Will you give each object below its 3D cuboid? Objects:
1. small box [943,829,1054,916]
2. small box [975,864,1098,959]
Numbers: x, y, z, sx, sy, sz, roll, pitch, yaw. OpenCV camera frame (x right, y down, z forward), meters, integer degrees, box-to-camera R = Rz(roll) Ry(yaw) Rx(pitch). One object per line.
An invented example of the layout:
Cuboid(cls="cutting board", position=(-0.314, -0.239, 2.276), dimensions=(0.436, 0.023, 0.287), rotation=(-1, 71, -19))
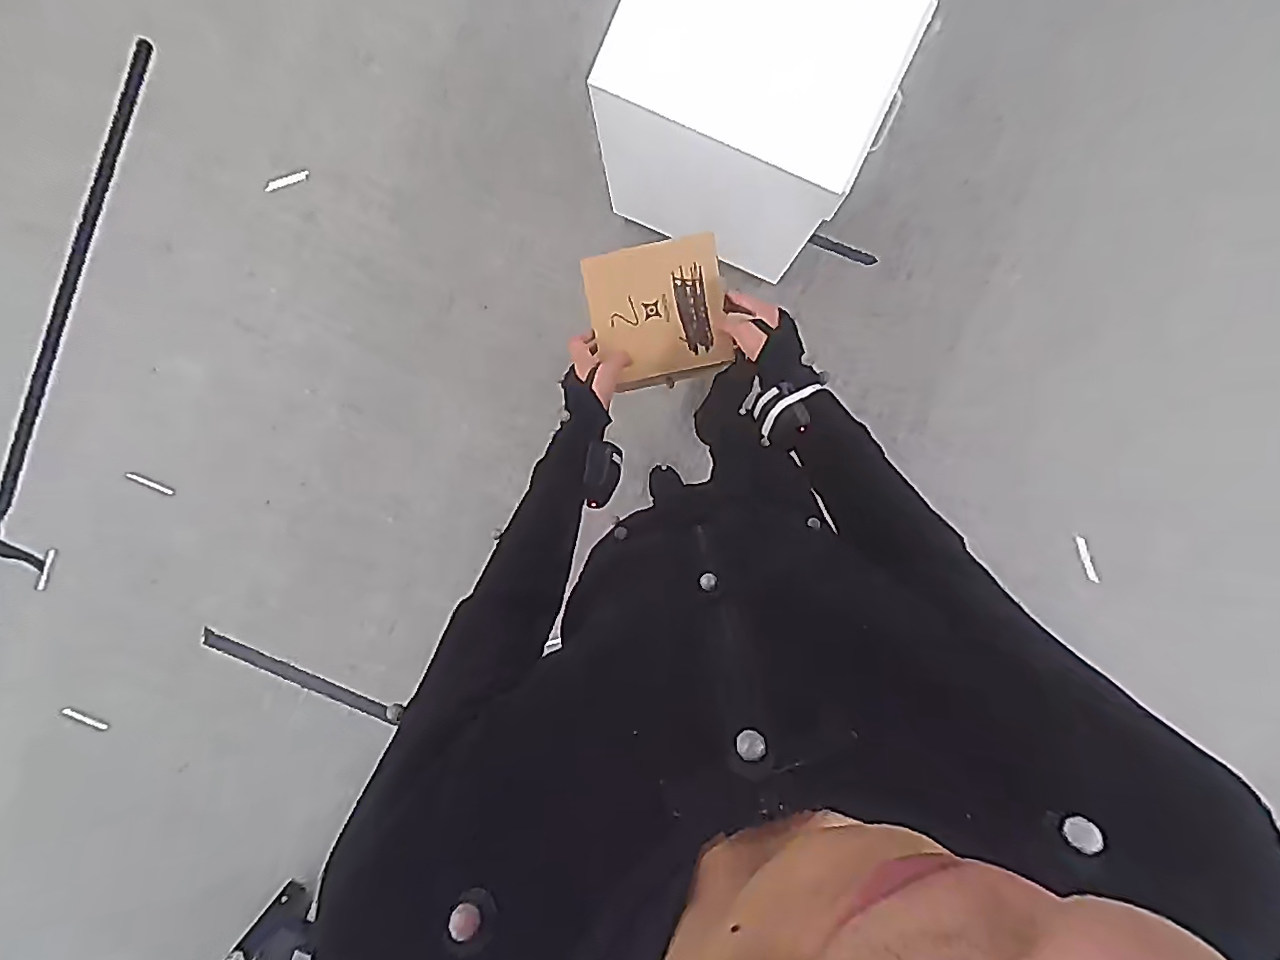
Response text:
Cuboid(cls="small box", position=(1.053, 1.188, 1.603), dimensions=(0.179, 0.176, 0.168), rotation=(28, 94, 0))
Cuboid(cls="small box", position=(1.038, 1.189, 1.438), dimensions=(0.168, 0.176, 0.179), rotation=(32, 94, -1))
